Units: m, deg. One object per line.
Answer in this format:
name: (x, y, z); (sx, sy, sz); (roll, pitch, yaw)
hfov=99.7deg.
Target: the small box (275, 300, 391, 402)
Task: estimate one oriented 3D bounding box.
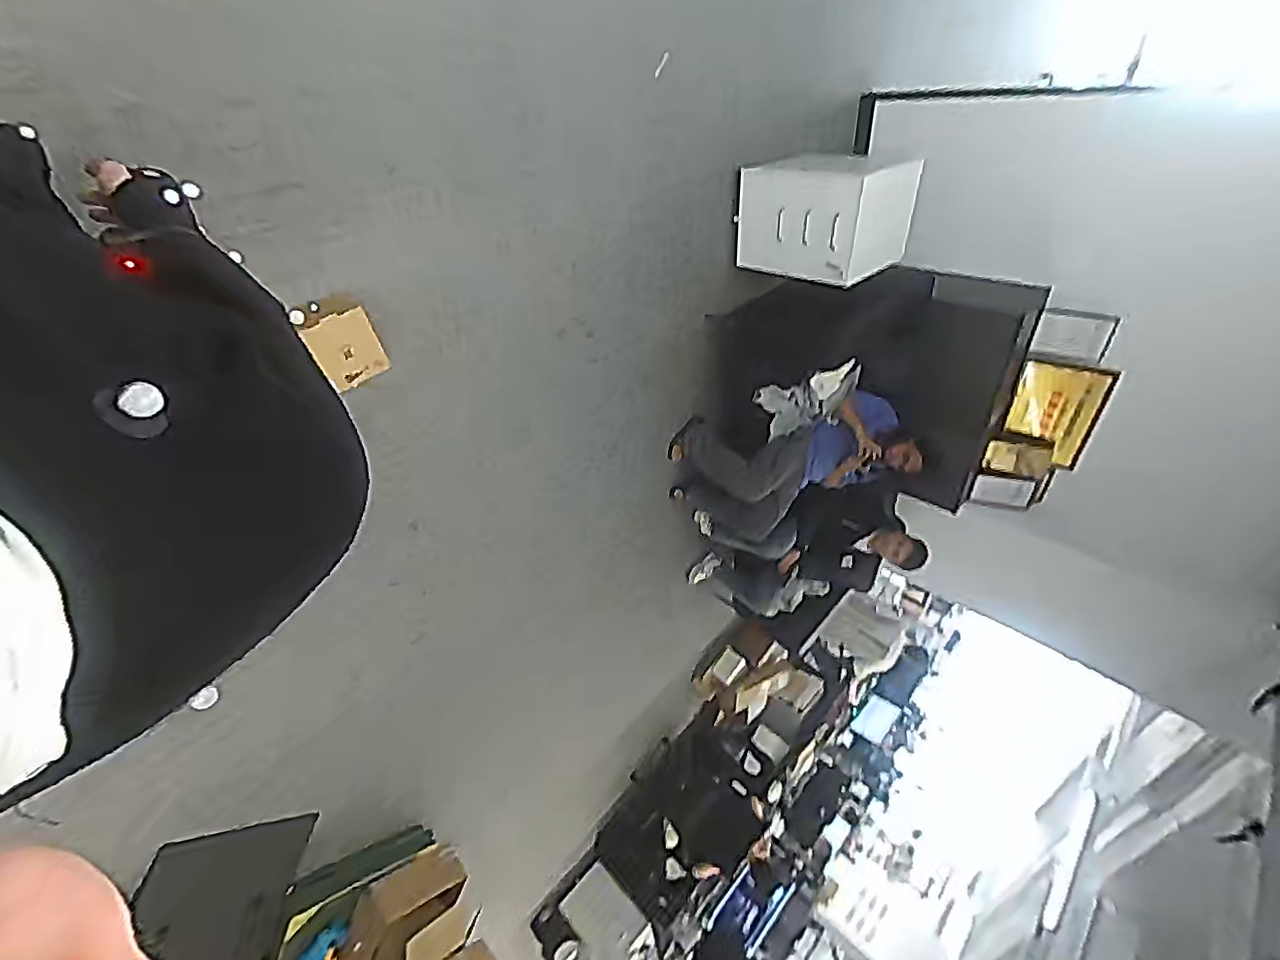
small box: (-0.790, -0.333, 1.384); (0.179, 0.176, 0.168); (-60, 146, -6)
